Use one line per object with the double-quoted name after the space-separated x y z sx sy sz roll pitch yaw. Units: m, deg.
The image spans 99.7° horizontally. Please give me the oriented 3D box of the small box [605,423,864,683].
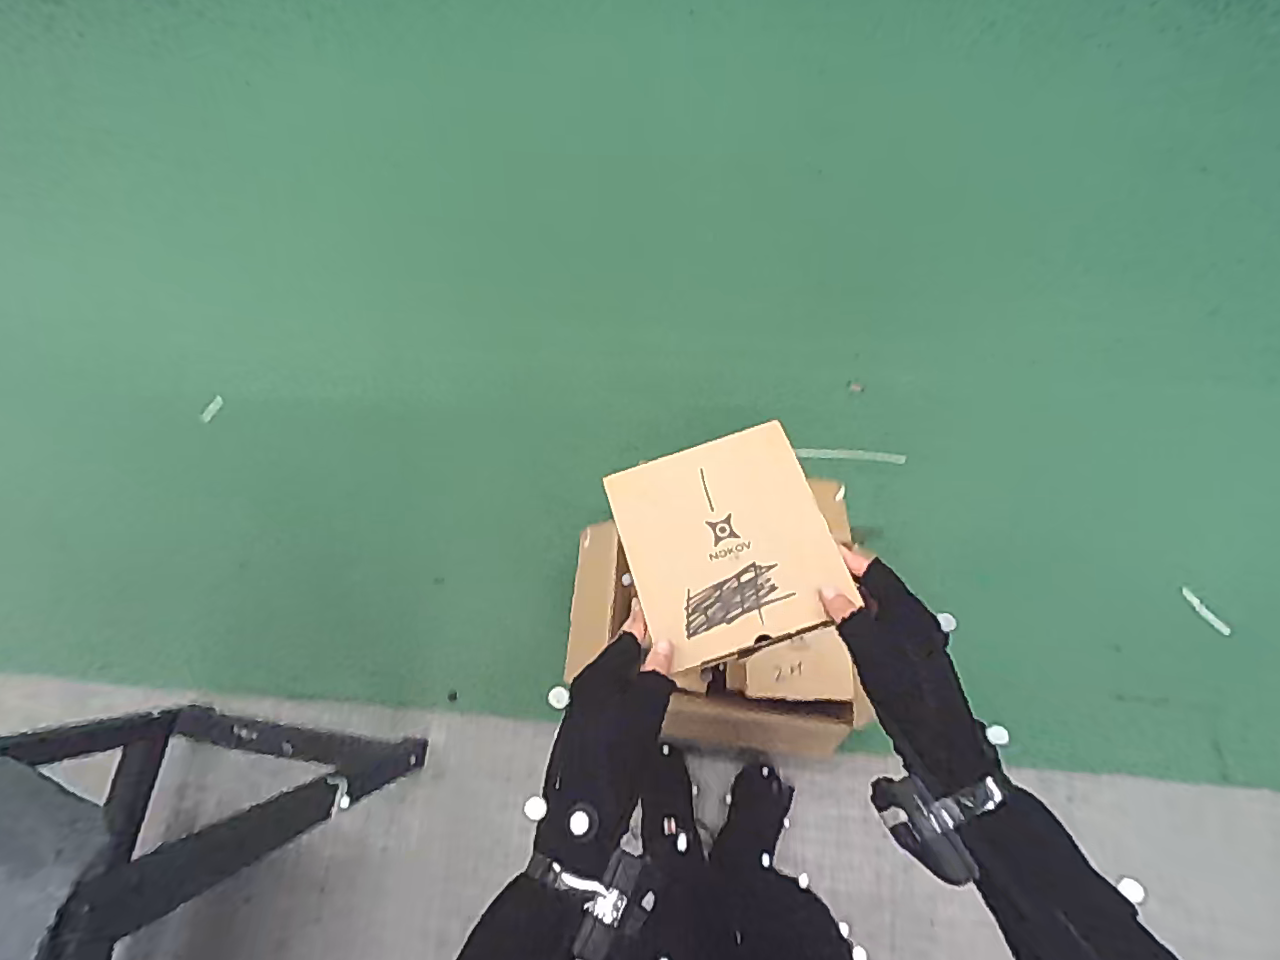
0.079 0.076 0.509 0.168 0.176 0.179 -18 70 0 "small box"
